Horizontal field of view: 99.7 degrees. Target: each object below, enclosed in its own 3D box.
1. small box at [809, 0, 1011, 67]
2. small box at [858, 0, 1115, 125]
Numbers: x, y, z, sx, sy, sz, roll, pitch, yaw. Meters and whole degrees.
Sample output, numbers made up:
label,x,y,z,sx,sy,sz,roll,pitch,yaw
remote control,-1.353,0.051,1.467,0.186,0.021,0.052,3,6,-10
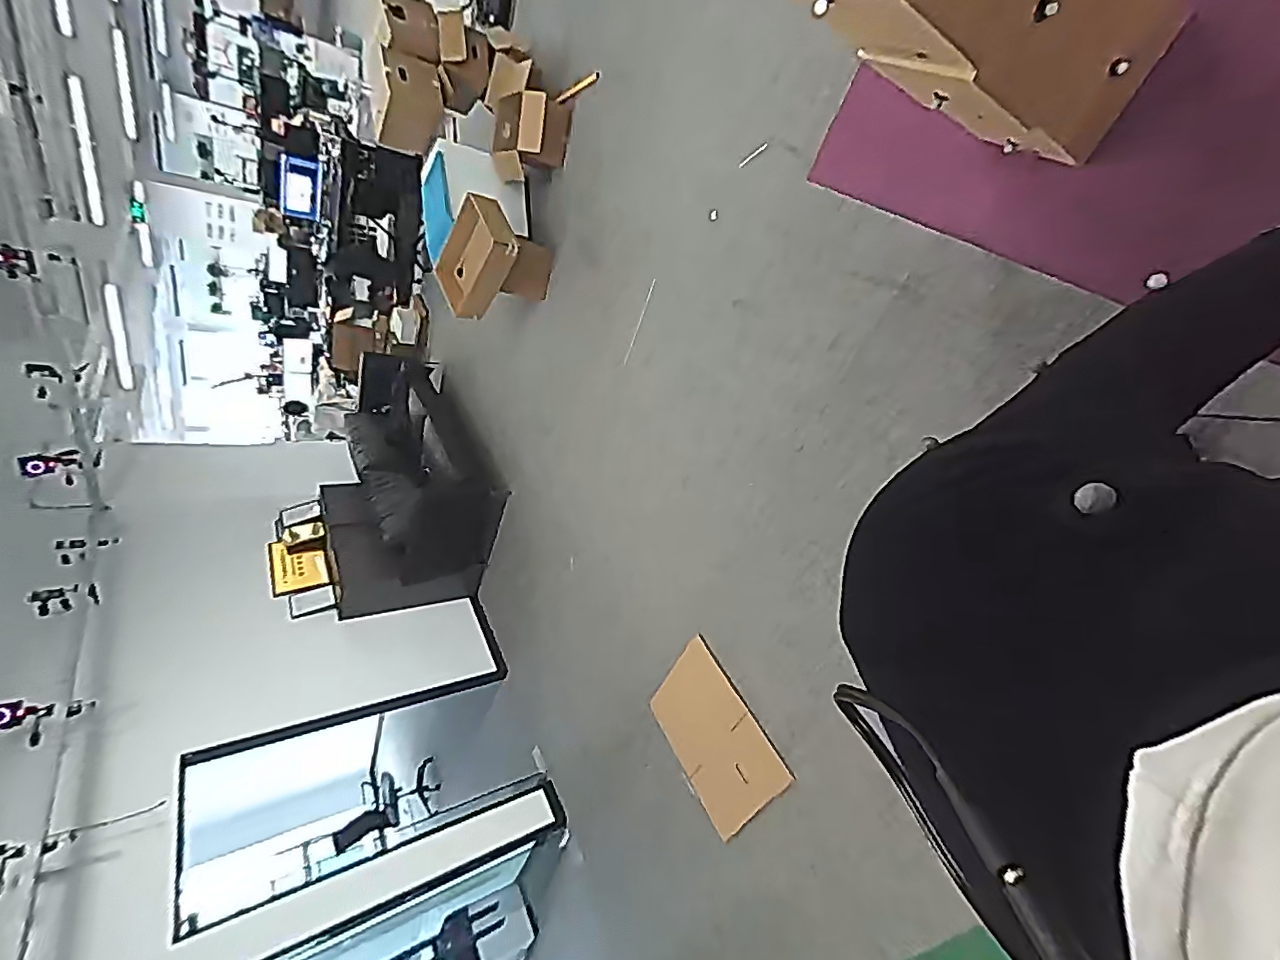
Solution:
label,x,y,z,sx,sy,sz,roll,pitch,yaw
small box,0.264,-0.529,0.502,0.168,0.176,0.179,52,131,38
small box,0.393,-0.531,0.603,0.168,0.176,0.179,53,132,37
